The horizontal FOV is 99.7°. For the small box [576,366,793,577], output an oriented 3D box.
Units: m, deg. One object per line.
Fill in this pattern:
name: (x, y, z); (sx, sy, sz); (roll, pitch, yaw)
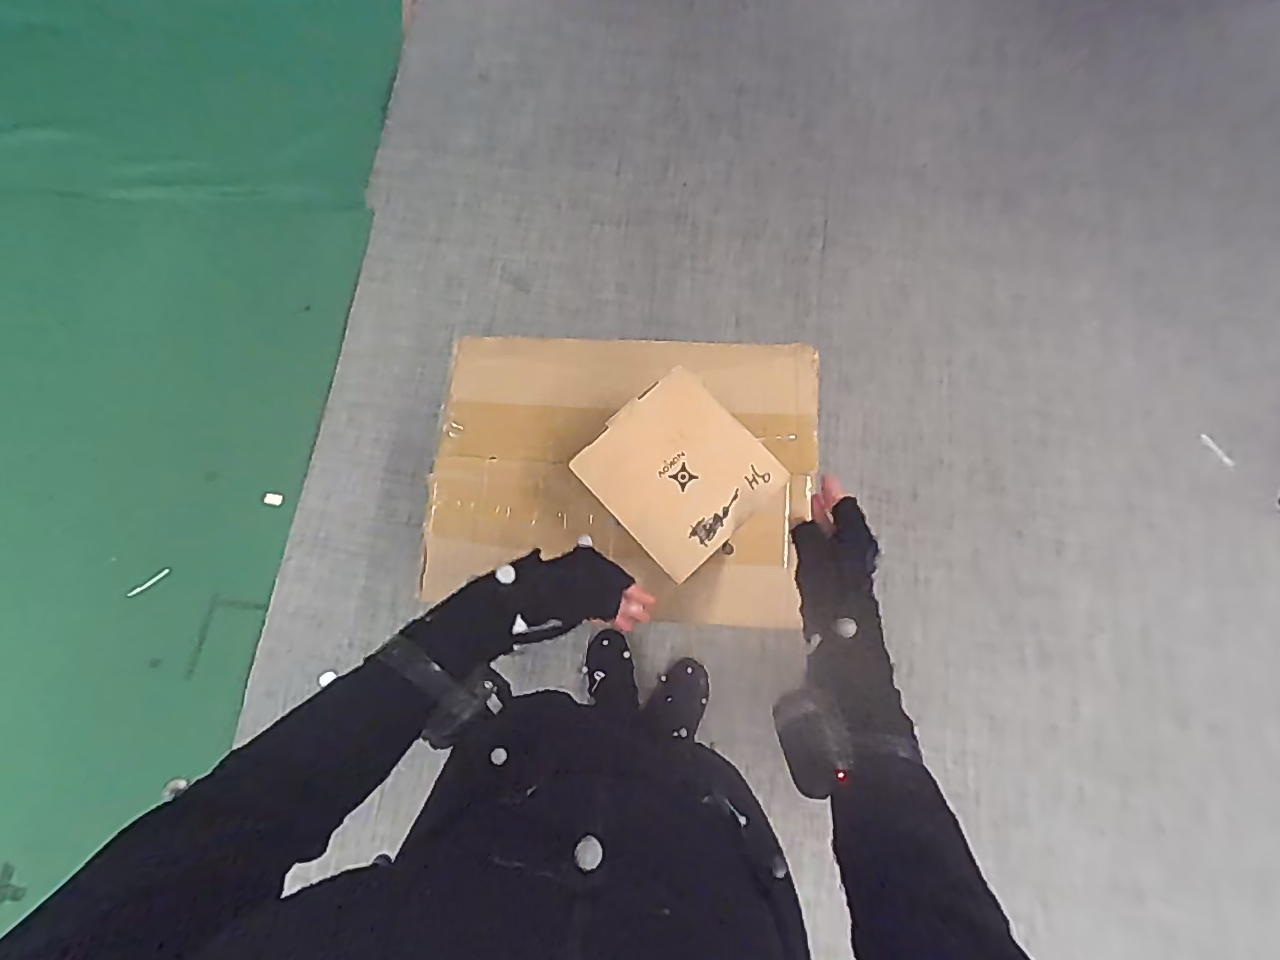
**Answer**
small box: (0.050, 0.001, 0.654); (0.168, 0.176, 0.179); (-43, 81, -3)
